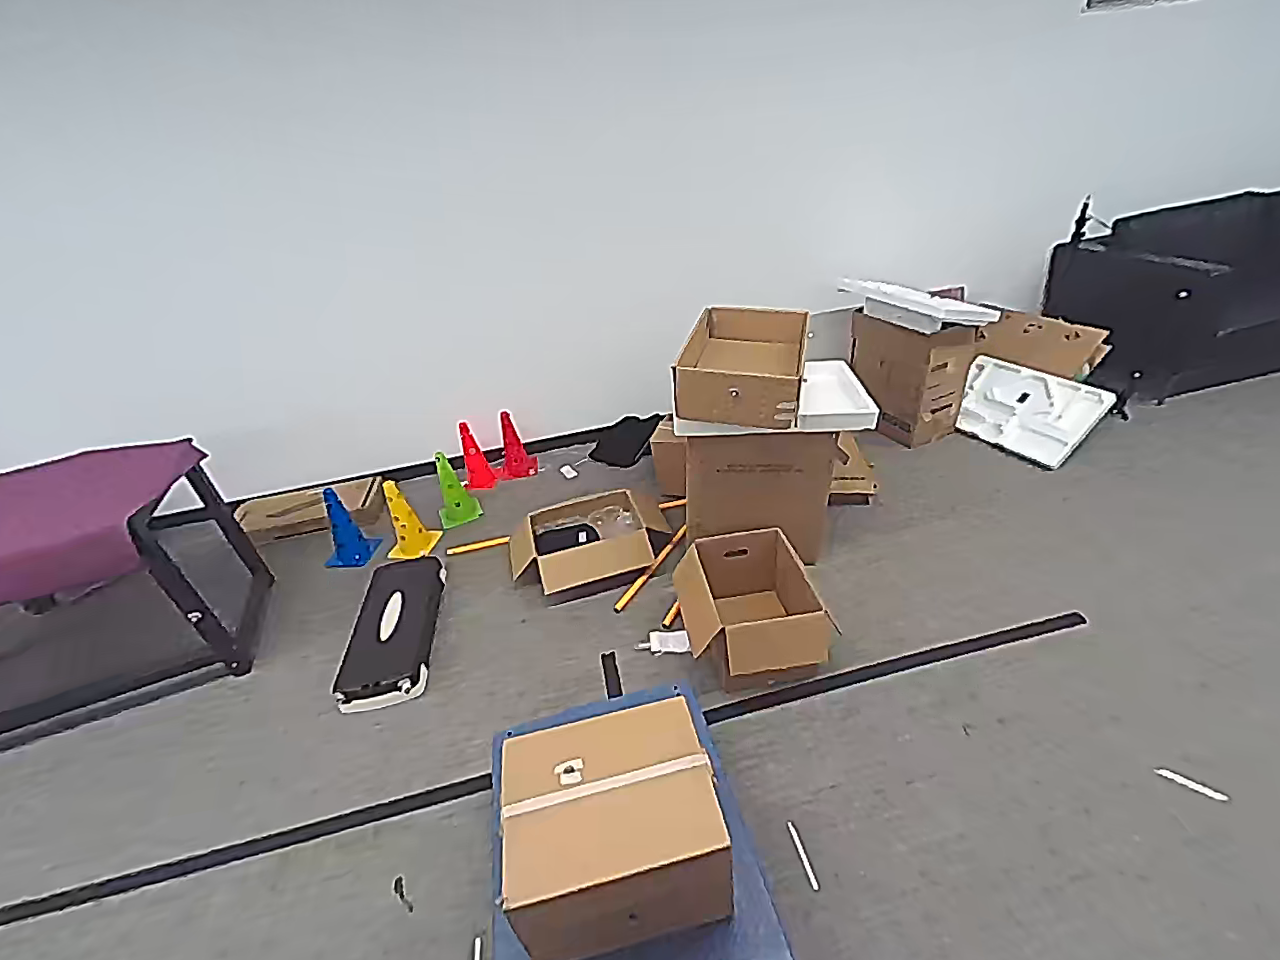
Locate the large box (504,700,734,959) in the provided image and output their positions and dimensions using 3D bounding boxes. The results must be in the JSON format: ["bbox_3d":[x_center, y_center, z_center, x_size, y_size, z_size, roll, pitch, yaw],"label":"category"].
[{"bbox_3d":[-0.046,0.733,1.137,0.408,0.320,0.320,-13,32,-6],"label":"large box"}]
